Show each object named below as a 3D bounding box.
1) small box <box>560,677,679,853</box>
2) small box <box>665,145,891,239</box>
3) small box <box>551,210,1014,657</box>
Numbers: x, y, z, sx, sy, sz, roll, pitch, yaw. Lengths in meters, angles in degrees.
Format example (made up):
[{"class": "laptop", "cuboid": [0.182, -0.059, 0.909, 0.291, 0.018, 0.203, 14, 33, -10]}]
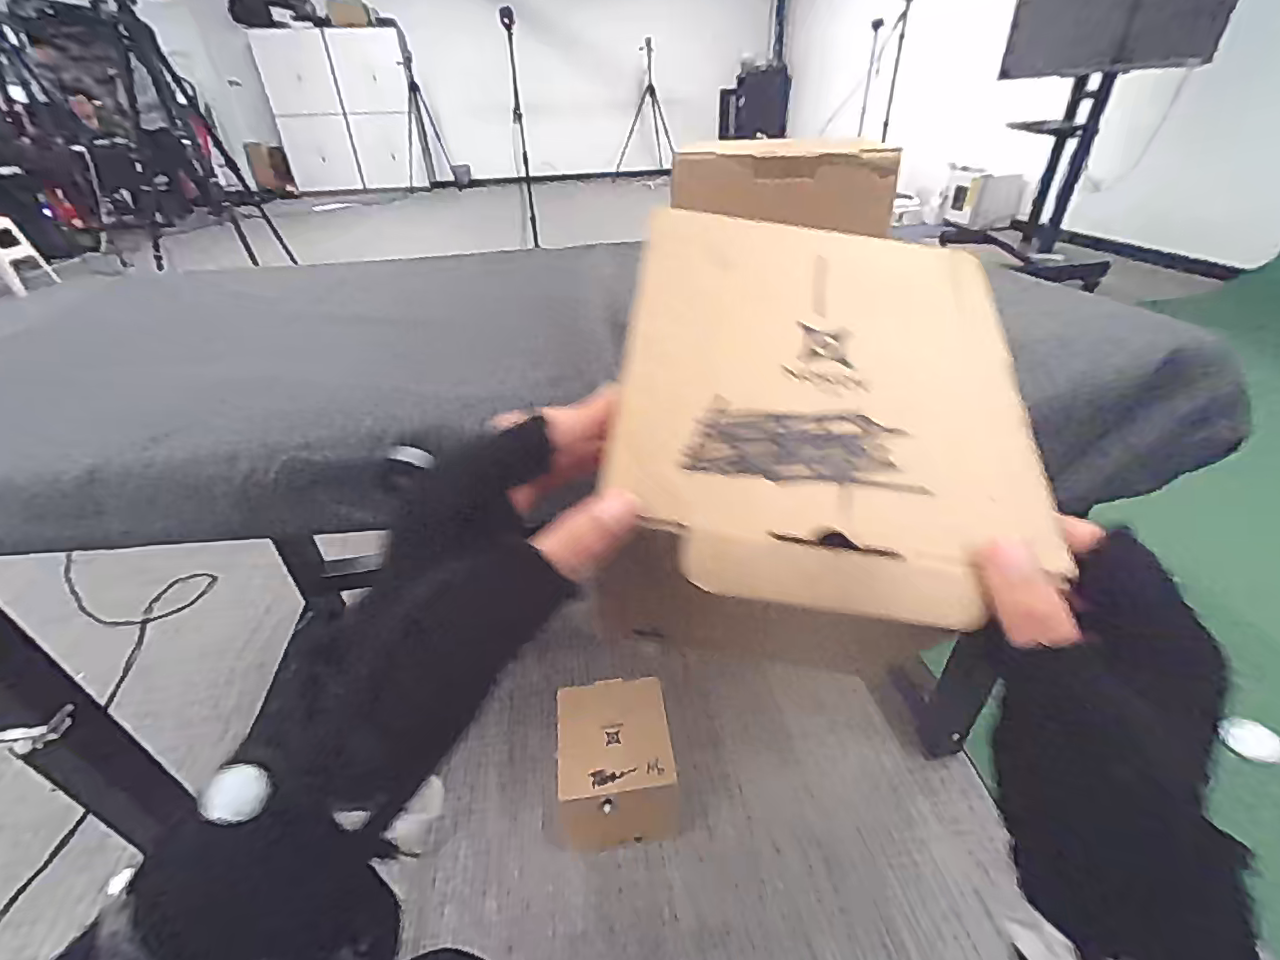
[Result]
[{"class": "small box", "cuboid": [-0.034, 0.444, 0.849, 0.168, 0.176, 0.179, -6, 33, -4]}, {"class": "small box", "cuboid": [0.114, -0.209, 0.506, 0.168, 0.176, 0.179, 4, 33, 7]}, {"class": "small box", "cuboid": [0.054, -0.012, 0.298, 0.168, 0.176, 0.179, 7, 59, 0]}]
